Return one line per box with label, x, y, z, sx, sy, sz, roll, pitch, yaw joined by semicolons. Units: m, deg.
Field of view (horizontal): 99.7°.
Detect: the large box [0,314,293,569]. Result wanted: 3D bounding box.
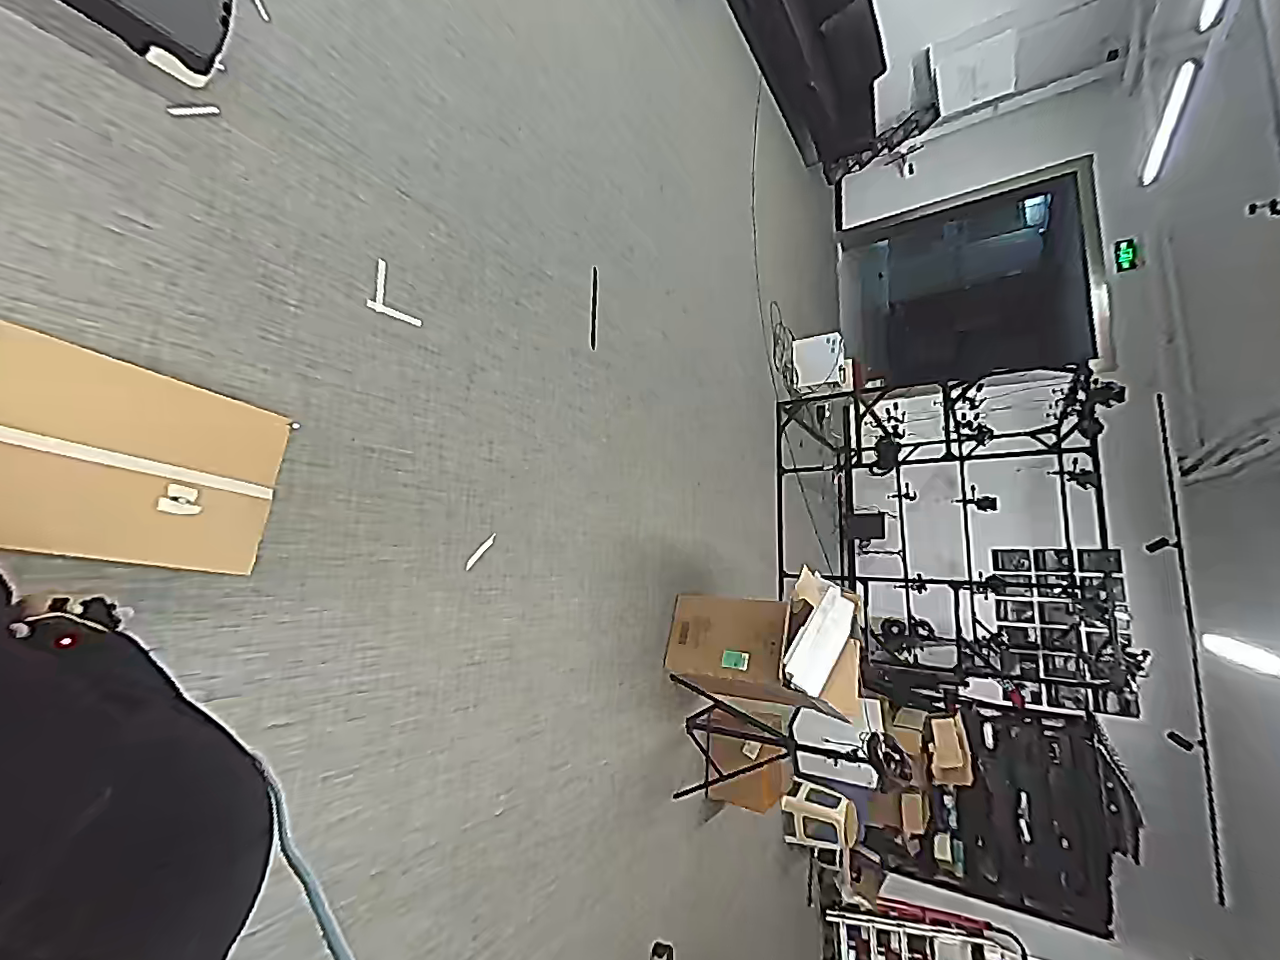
large box;-0.923;-0.026;0.938;0.408;0.320;0.320;28;64;-55
